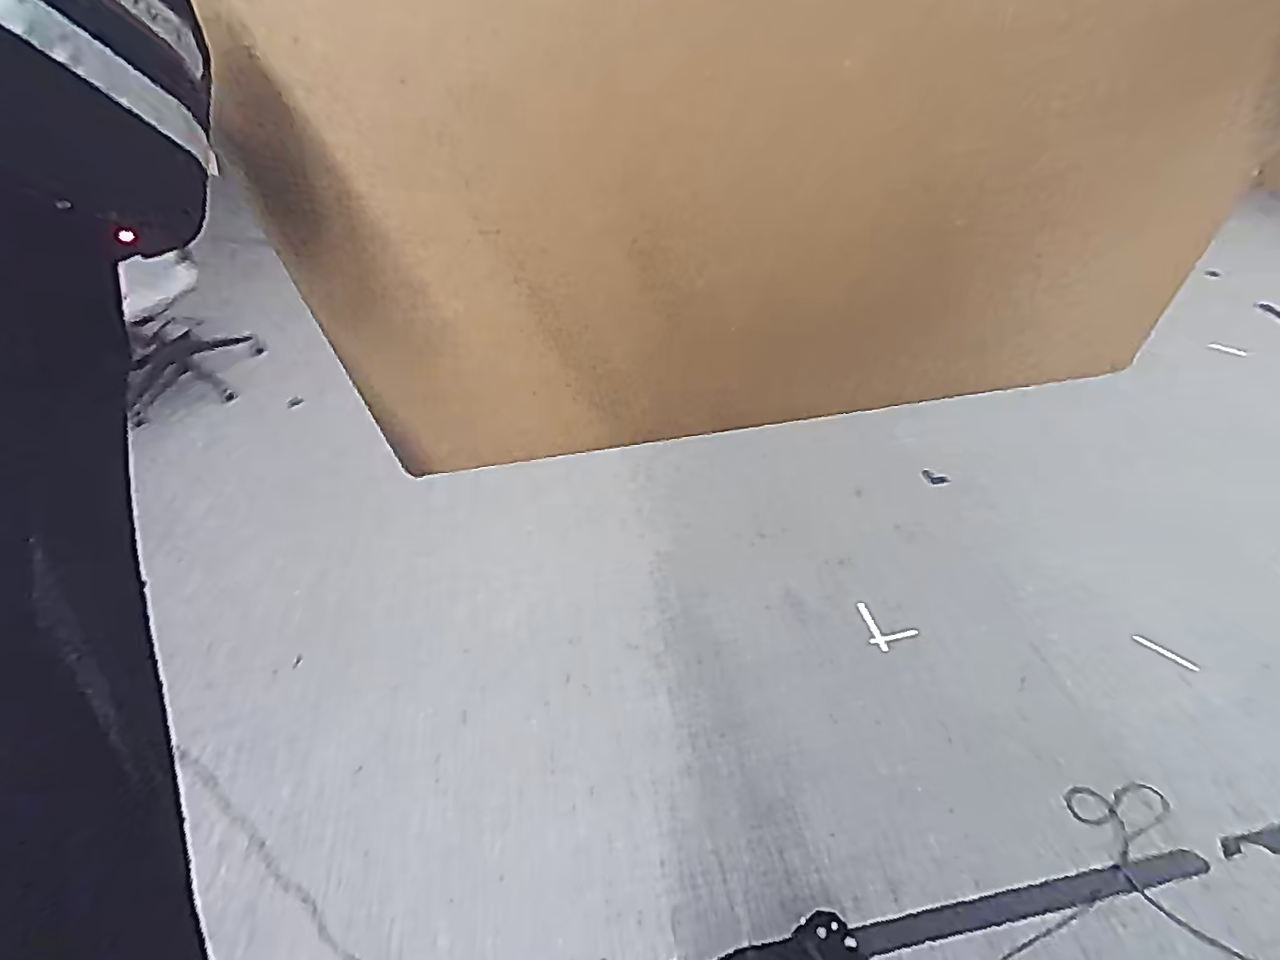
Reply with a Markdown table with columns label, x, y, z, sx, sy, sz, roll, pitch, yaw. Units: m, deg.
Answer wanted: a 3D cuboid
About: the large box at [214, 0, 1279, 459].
| label | x | y | z | sx | sy | sz | roll | pitch | yaw |
| --- | --- | --- | --- | --- | --- | --- | --- | --- | --- |
| large box | 0.047 | -0.245 | 0.309 | 0.408 | 0.320 | 0.320 | -8 | 46 | -1 |
